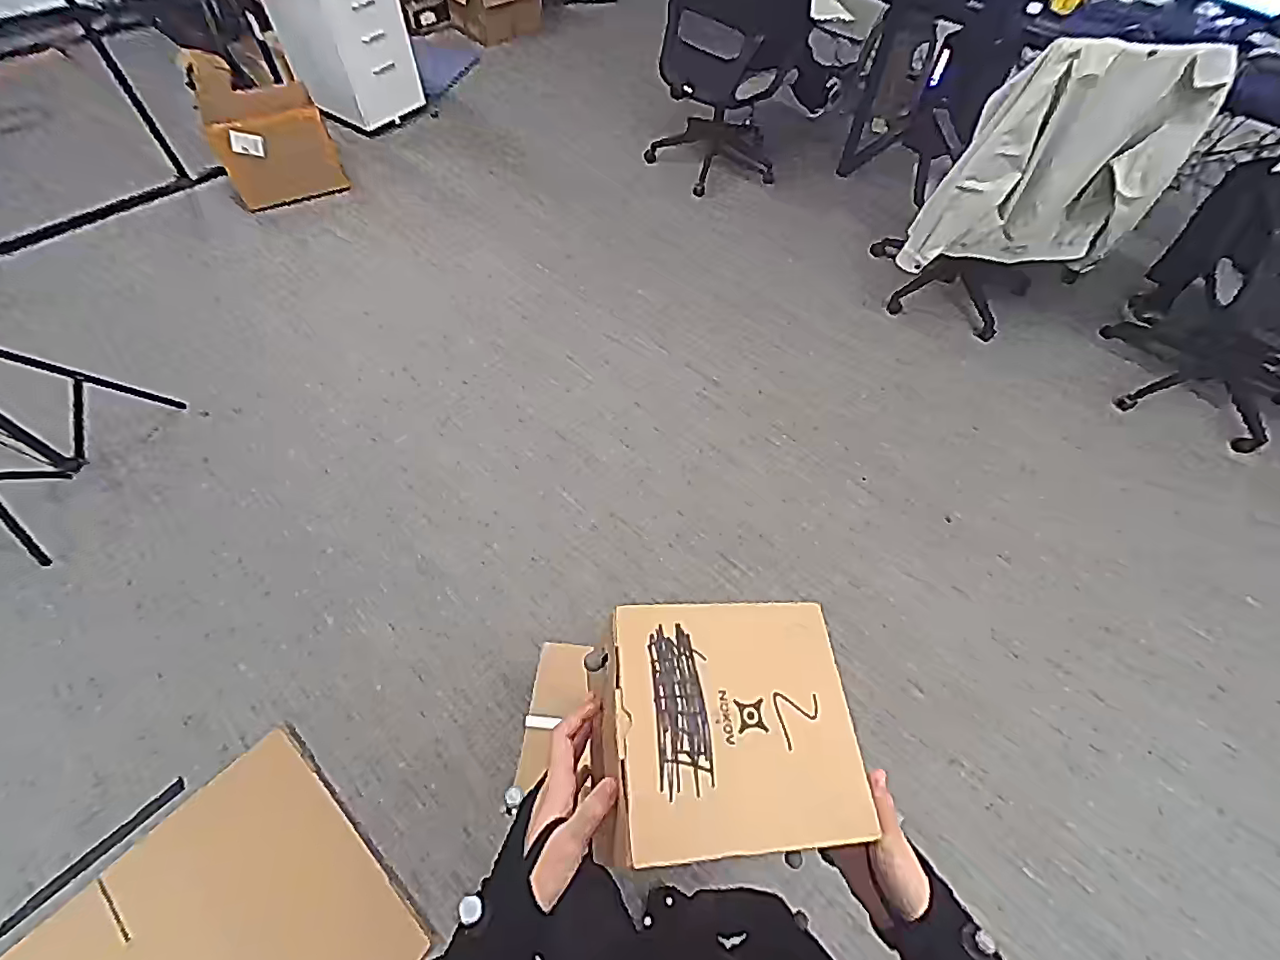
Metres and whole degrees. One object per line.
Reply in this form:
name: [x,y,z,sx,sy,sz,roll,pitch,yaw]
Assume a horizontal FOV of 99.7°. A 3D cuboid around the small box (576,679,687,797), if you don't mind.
small box: [-0.013,0.461,0.960,0.179,0.176,0.168,4,60,0]
